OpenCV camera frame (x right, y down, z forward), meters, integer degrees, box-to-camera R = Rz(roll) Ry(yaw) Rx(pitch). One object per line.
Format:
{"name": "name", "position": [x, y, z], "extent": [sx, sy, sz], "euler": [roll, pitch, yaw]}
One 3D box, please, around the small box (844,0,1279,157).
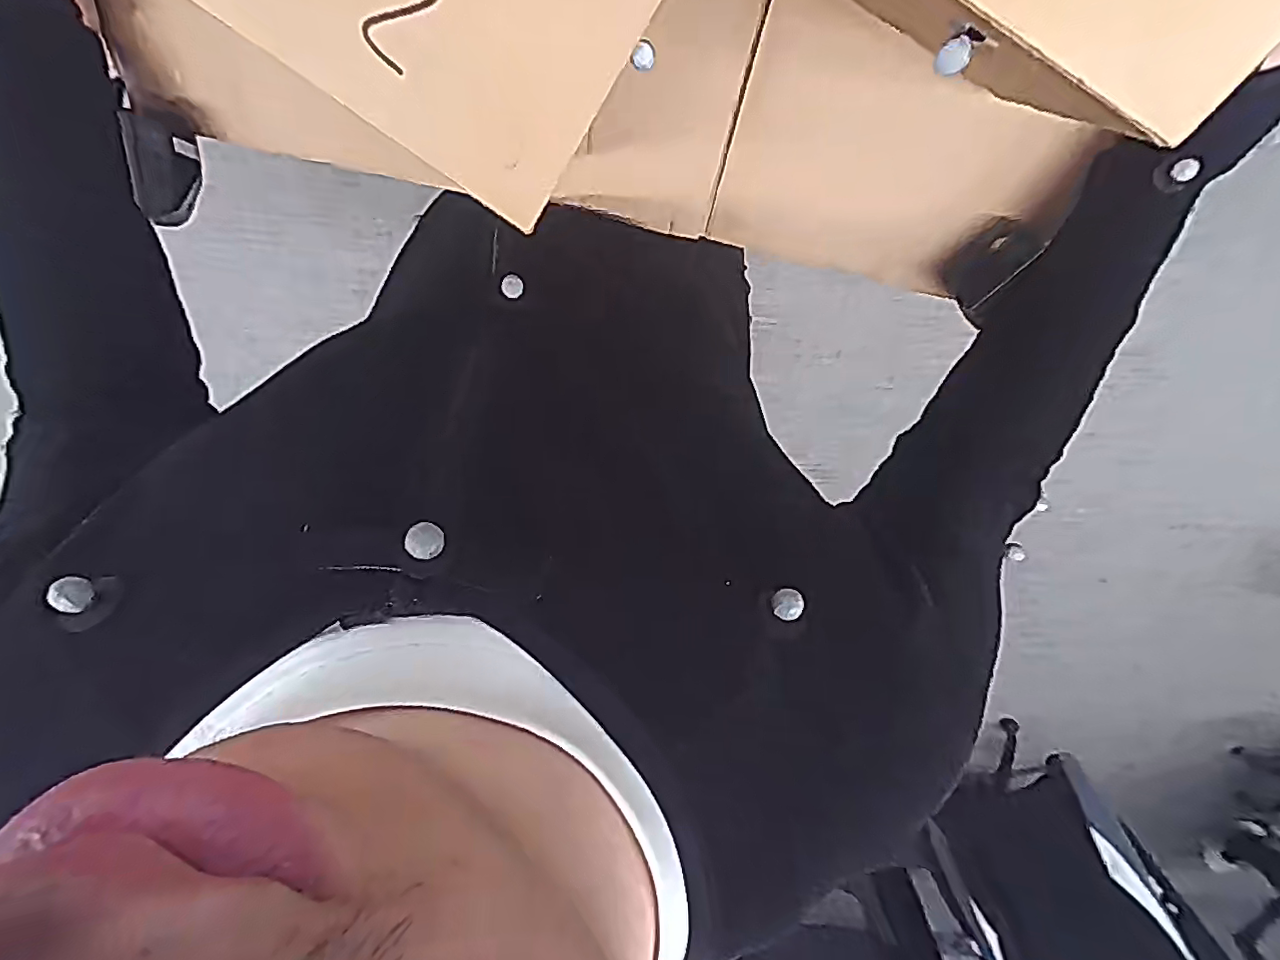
{"name": "small box", "position": [0.197, -0.286, 0.241], "extent": [0.179, 0.176, 0.168], "euler": [23, 130, -11]}
